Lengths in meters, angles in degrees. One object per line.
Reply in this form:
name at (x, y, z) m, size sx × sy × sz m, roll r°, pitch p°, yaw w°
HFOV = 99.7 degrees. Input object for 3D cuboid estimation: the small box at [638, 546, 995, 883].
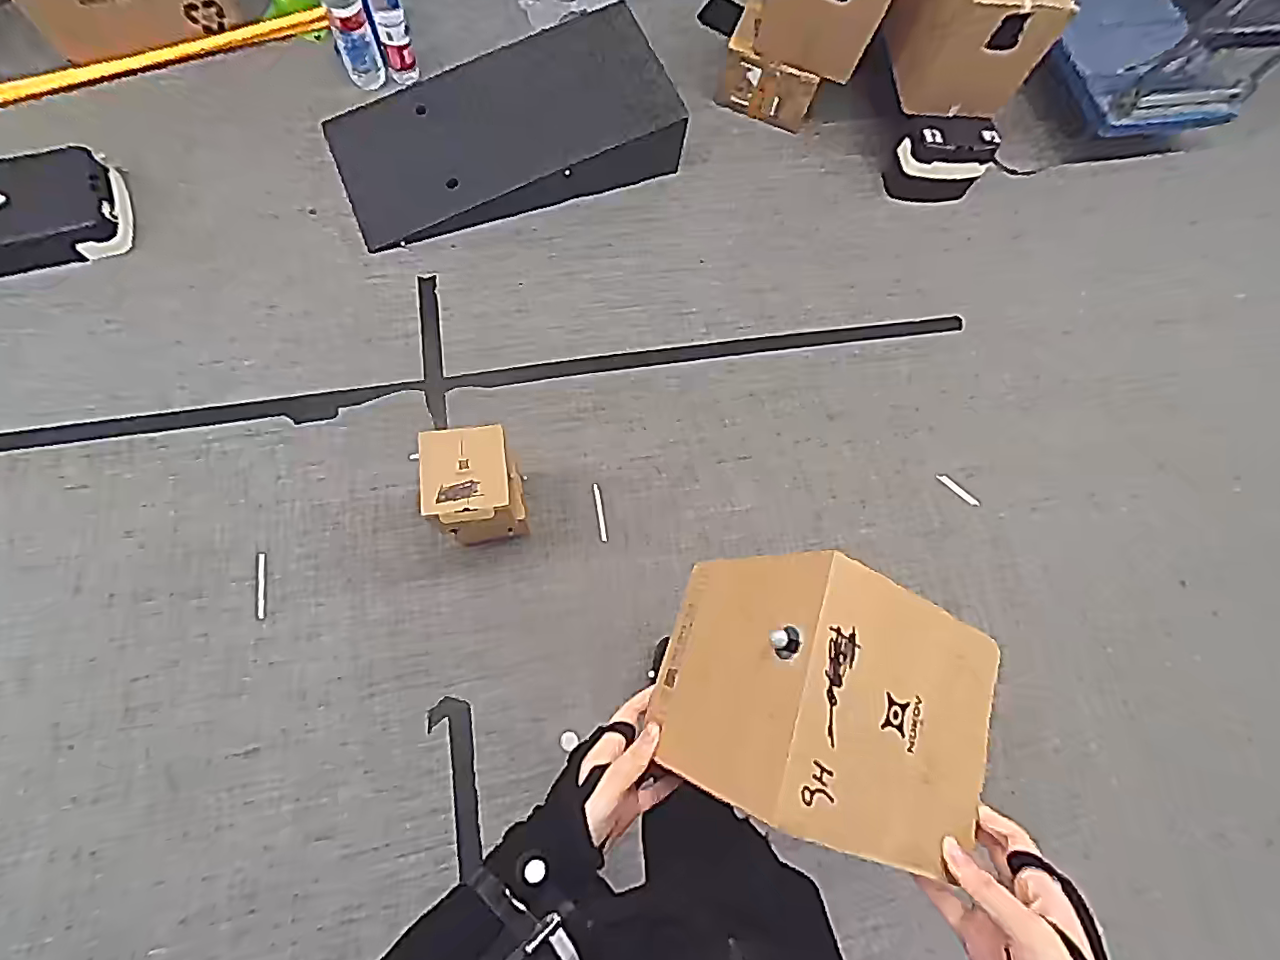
small box at (0.129, 0.163, 0.414) m, size 0.179 × 0.176 × 0.168 m, roll 30°, pitch 67°, yaw -20°

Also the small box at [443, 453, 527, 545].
small box at (-0.366, 0.049, 1.278) m, size 0.179 × 0.176 × 0.168 m, roll -9°, pitch 74°, yaw -10°

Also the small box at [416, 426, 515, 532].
small box at (-0.355, 0.005, 1.121) m, size 0.168 × 0.176 × 0.179 m, roll -6°, pitch 73°, yaw -10°
